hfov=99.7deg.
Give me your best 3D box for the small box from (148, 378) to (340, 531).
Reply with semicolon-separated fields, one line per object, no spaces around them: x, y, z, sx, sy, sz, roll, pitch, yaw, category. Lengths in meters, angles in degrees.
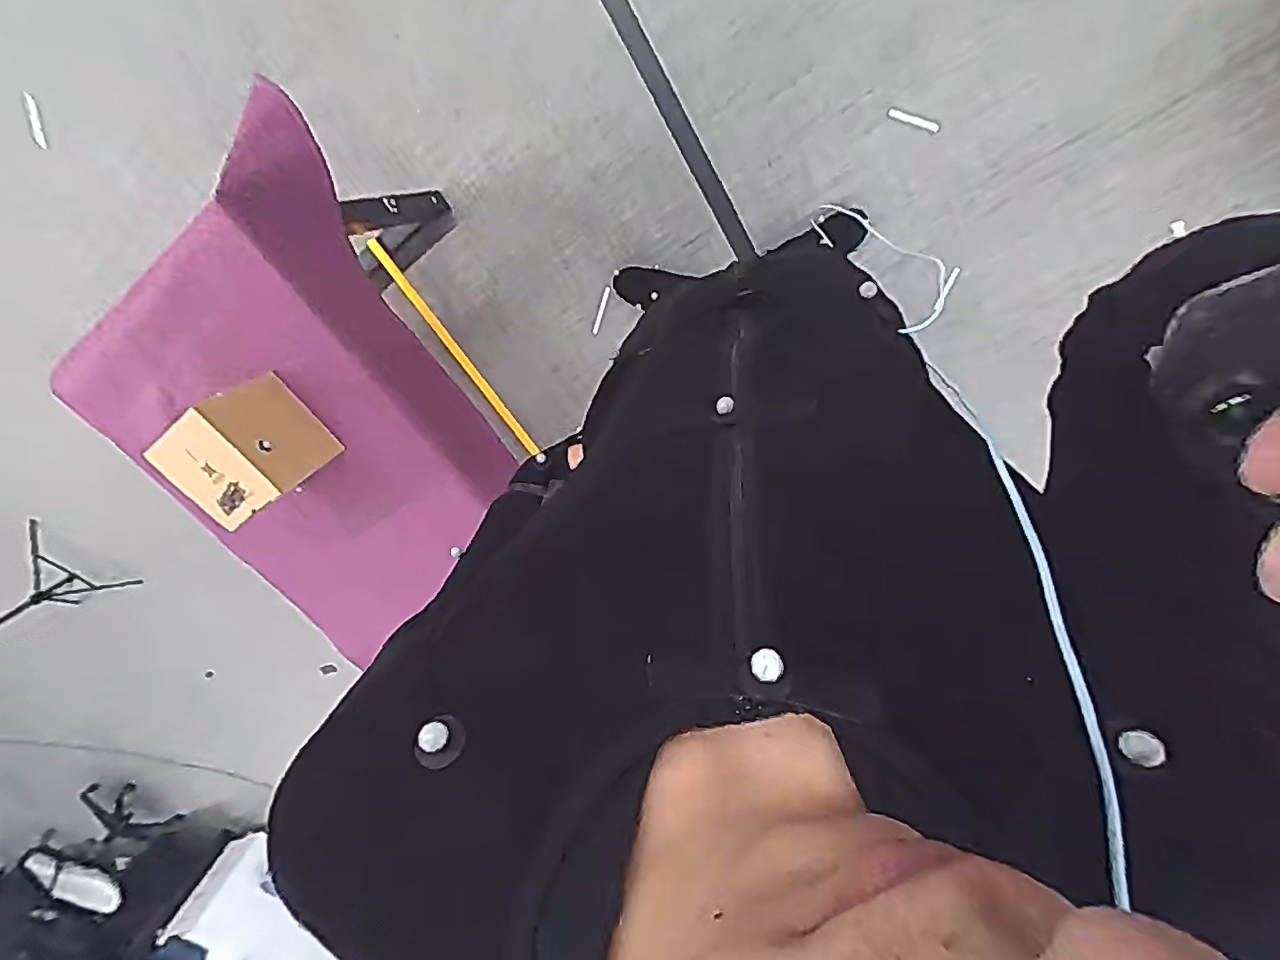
-0.673;-0.048;0.941;0.168;0.176;0.179;-27;111;23;small box
